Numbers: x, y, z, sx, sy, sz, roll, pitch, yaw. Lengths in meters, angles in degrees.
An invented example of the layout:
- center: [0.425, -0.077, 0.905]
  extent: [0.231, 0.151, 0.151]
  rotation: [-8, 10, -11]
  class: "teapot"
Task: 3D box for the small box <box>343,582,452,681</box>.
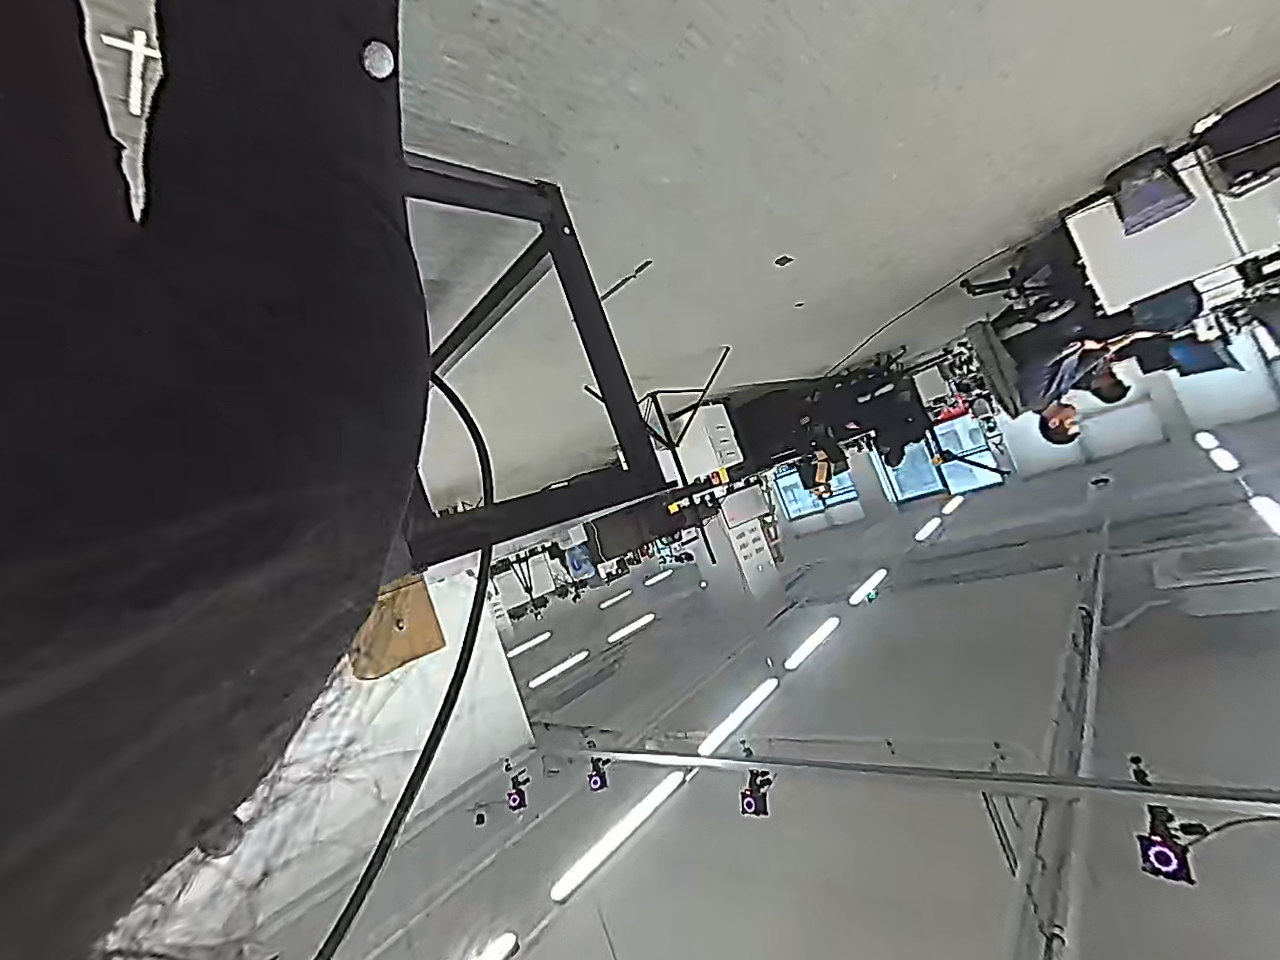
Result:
- center: [-0.574, 0.352, 1.273]
  extent: [0.168, 0.176, 0.179]
  rotation: [-18, 174, -43]
  class: "small box"
